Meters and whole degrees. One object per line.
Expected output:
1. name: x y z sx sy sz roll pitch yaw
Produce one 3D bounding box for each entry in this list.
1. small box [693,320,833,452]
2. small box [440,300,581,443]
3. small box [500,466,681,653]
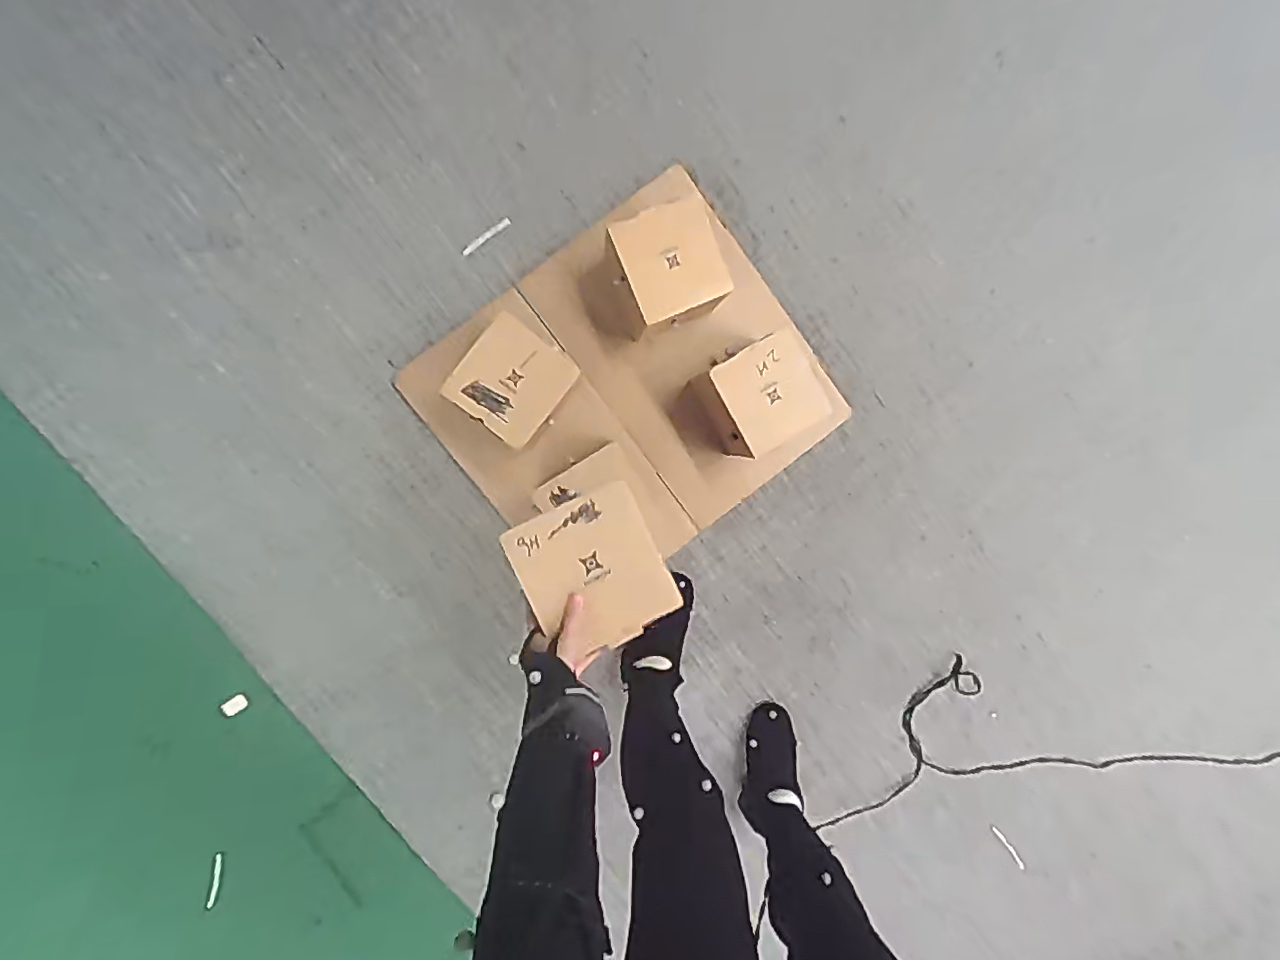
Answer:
1. small box: 0.219 -0.168 1.002 0.168 0.176 0.179 -30 96 -3
2. small box: -0.218 -0.182 0.967 0.168 0.176 0.179 39 89 -7
3. small box: -0.069 0.097 0.720 0.168 0.176 0.179 -25 90 -12
